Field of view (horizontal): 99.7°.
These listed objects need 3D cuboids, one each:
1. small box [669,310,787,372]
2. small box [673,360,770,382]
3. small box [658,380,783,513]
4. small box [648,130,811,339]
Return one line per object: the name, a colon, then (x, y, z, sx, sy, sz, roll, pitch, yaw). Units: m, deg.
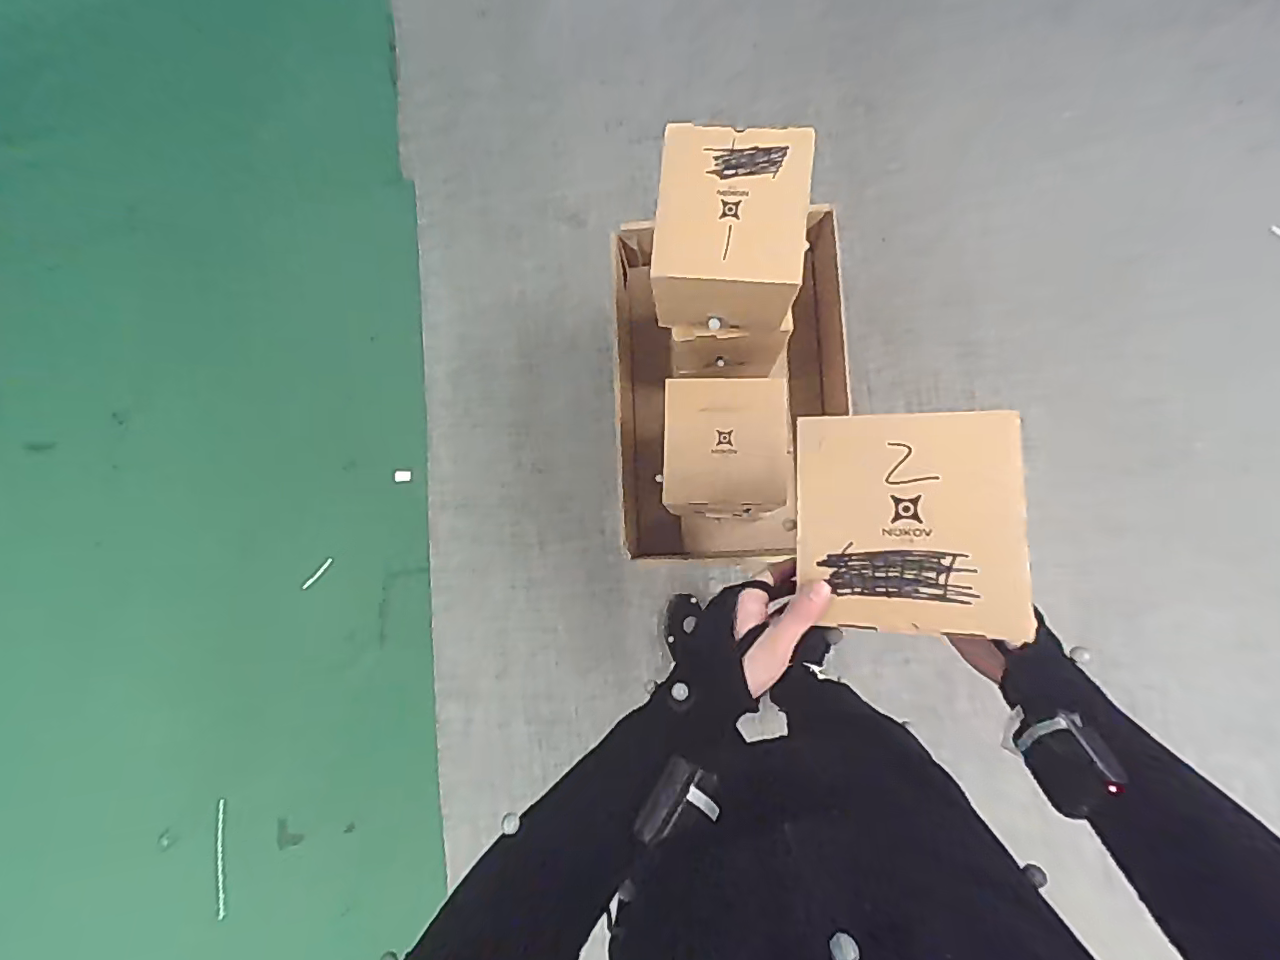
small box: (0.125, -0.278, 0.837, 0.168, 0.176, 0.179, -4, 87, 5)
small box: (0.142, -0.268, 0.998, 0.168, 0.176, 0.179, -3, 86, 6)
small box: (0.118, -0.041, 0.811, 0.168, 0.176, 0.179, 2, 84, 5)
small box: (0.105, -0.293, 0.675, 0.168, 0.176, 0.179, 6, 88, 6)
